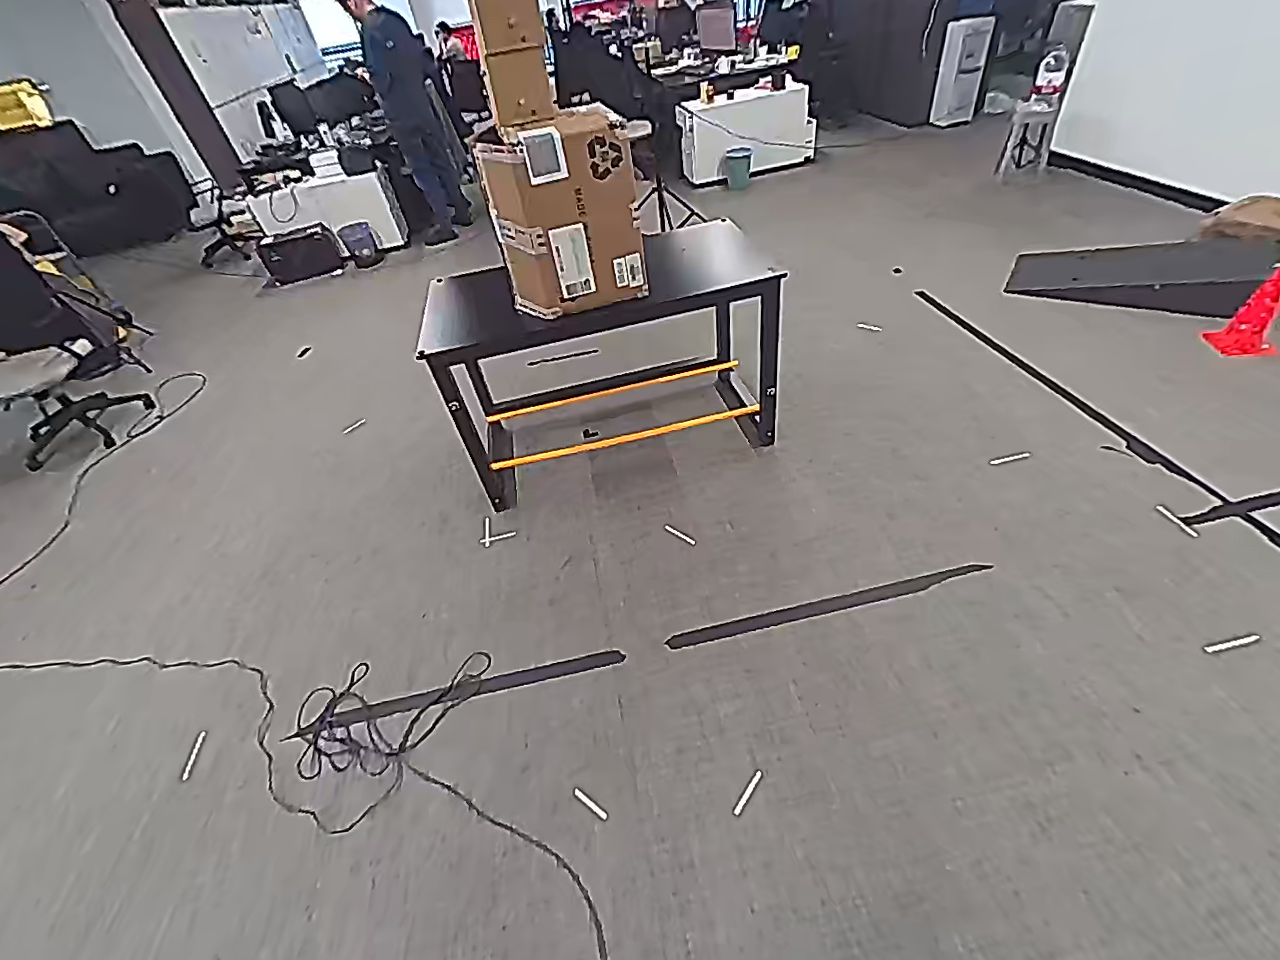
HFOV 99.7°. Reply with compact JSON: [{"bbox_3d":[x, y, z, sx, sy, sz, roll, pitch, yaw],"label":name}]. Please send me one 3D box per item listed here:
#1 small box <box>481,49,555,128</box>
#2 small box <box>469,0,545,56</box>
[{"bbox_3d":[-0.356,-1.144,1.580,0.168,0.176,0.179,-16,42,-8],"label":"small box"},{"bbox_3d":[-0.367,-1.264,1.467,0.168,0.176,0.179,-18,41,-9],"label":"small box"}]
